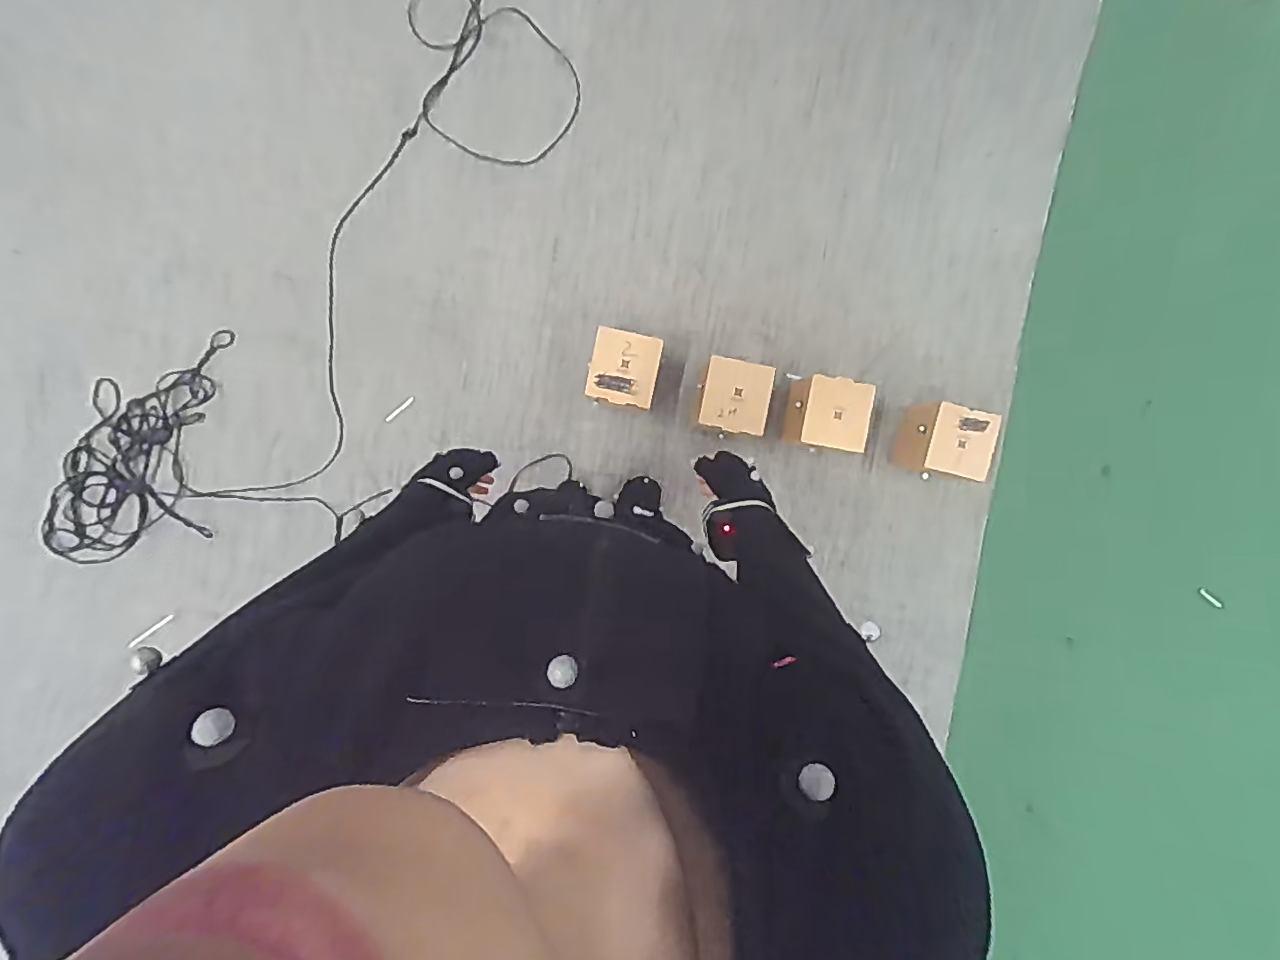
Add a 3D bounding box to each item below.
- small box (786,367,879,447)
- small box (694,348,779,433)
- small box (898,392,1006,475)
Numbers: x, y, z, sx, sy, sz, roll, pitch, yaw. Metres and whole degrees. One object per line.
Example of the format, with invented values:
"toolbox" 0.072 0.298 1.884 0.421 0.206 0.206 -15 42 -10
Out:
"small box" 0.493 -0.184 1.413 0.168 0.176 0.179 9 91 -3
"small box" 0.241 -0.225 1.398 0.168 0.176 0.179 11 92 -2
"small box" 0.812 -0.119 1.427 0.168 0.176 0.179 14 92 -2
